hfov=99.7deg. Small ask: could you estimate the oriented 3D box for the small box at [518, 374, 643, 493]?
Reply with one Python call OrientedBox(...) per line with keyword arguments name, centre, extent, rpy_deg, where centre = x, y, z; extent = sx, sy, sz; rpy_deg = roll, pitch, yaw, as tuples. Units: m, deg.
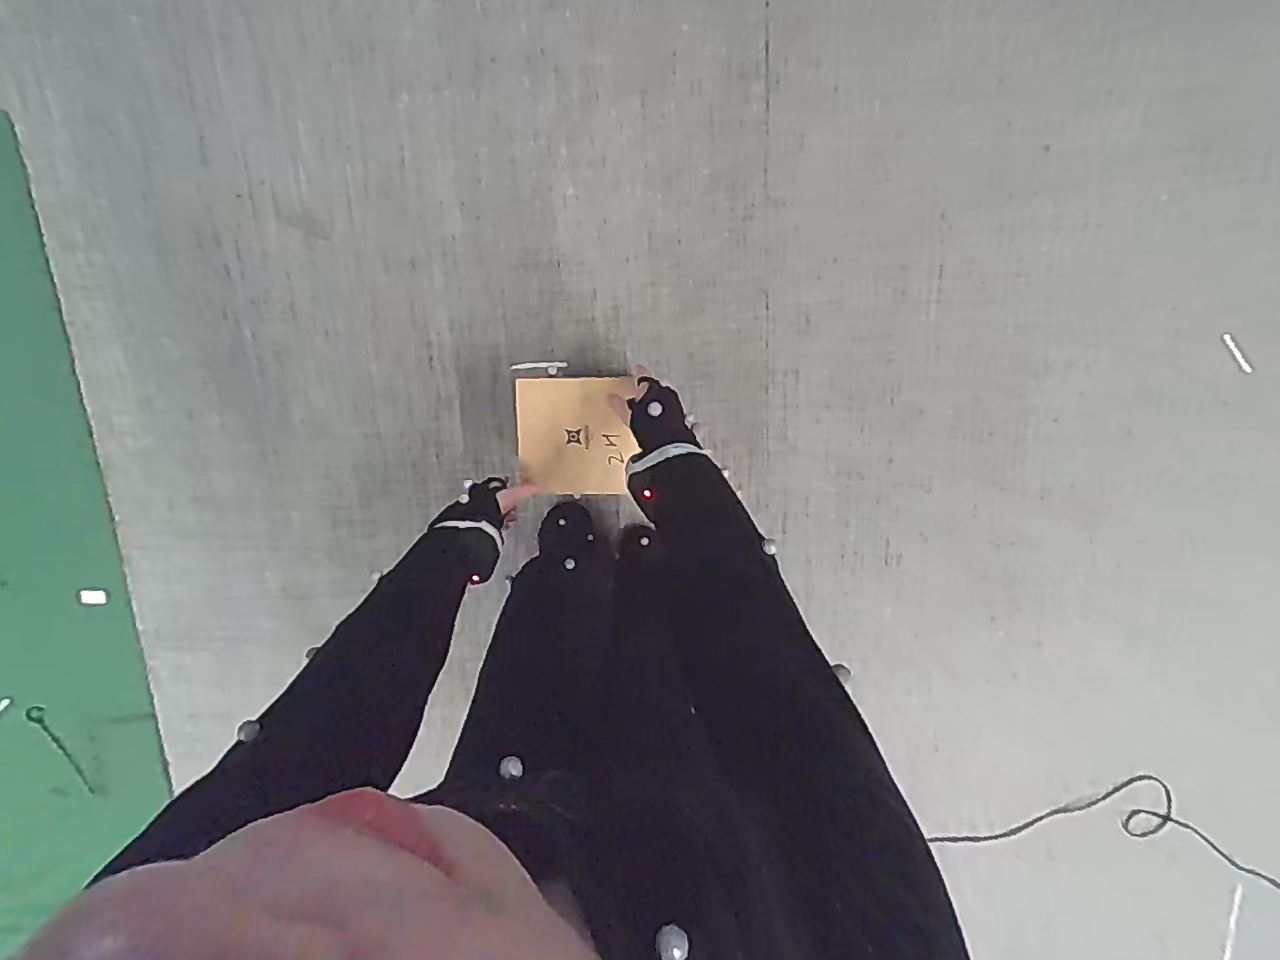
OrientedBox(name="small box", centre=(-0.084, -0.079, 0.841), extent=(0.179, 0.176, 0.168), rpy_deg=(0, 102, -1))
